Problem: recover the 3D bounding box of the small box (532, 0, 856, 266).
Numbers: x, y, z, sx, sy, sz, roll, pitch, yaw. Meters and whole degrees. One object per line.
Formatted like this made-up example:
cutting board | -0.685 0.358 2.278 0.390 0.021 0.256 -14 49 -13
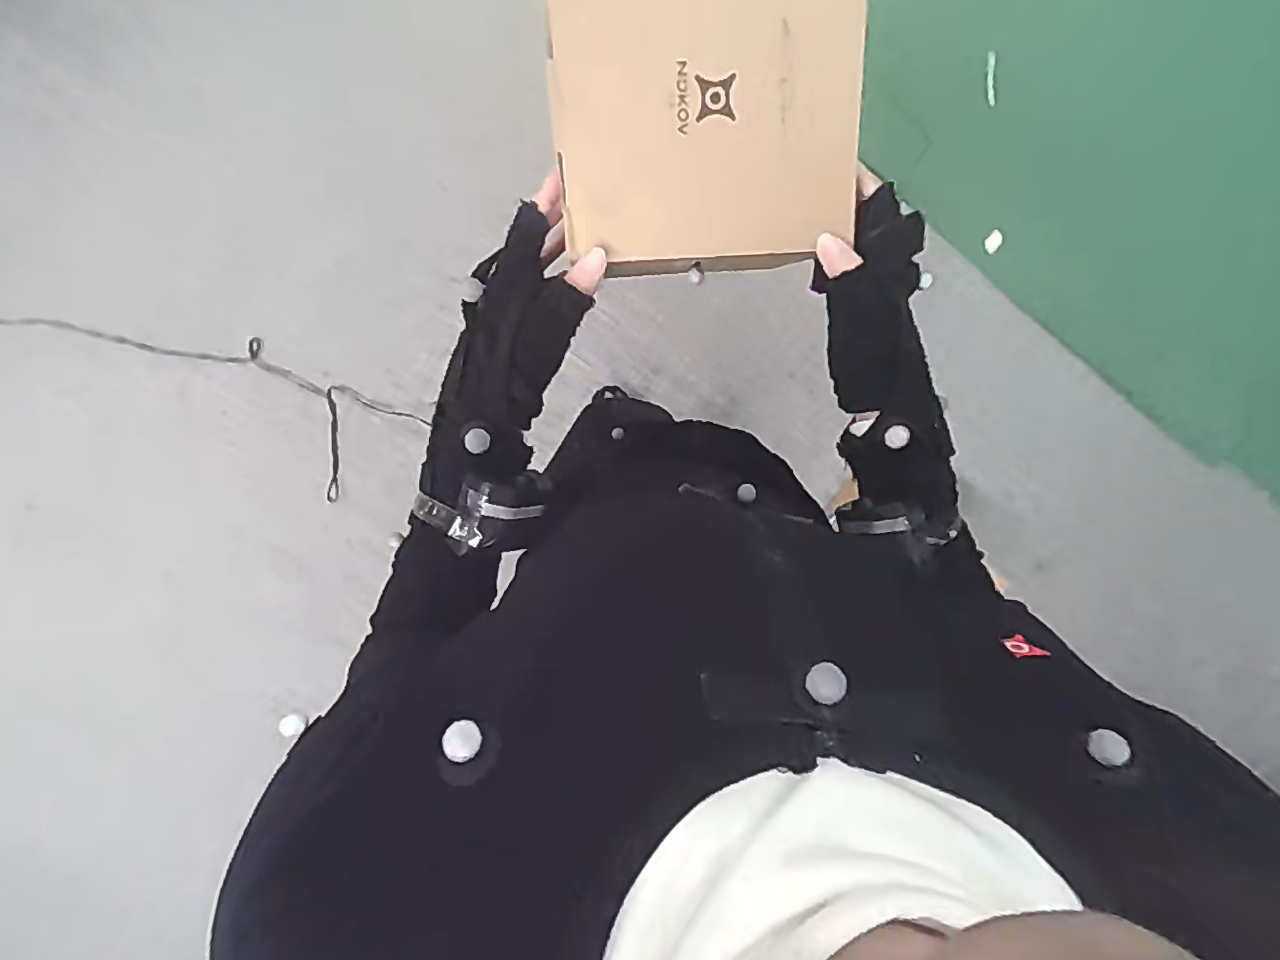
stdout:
small box | 0.031 -0.247 0.375 0.179 0.176 0.168 -6 109 0
